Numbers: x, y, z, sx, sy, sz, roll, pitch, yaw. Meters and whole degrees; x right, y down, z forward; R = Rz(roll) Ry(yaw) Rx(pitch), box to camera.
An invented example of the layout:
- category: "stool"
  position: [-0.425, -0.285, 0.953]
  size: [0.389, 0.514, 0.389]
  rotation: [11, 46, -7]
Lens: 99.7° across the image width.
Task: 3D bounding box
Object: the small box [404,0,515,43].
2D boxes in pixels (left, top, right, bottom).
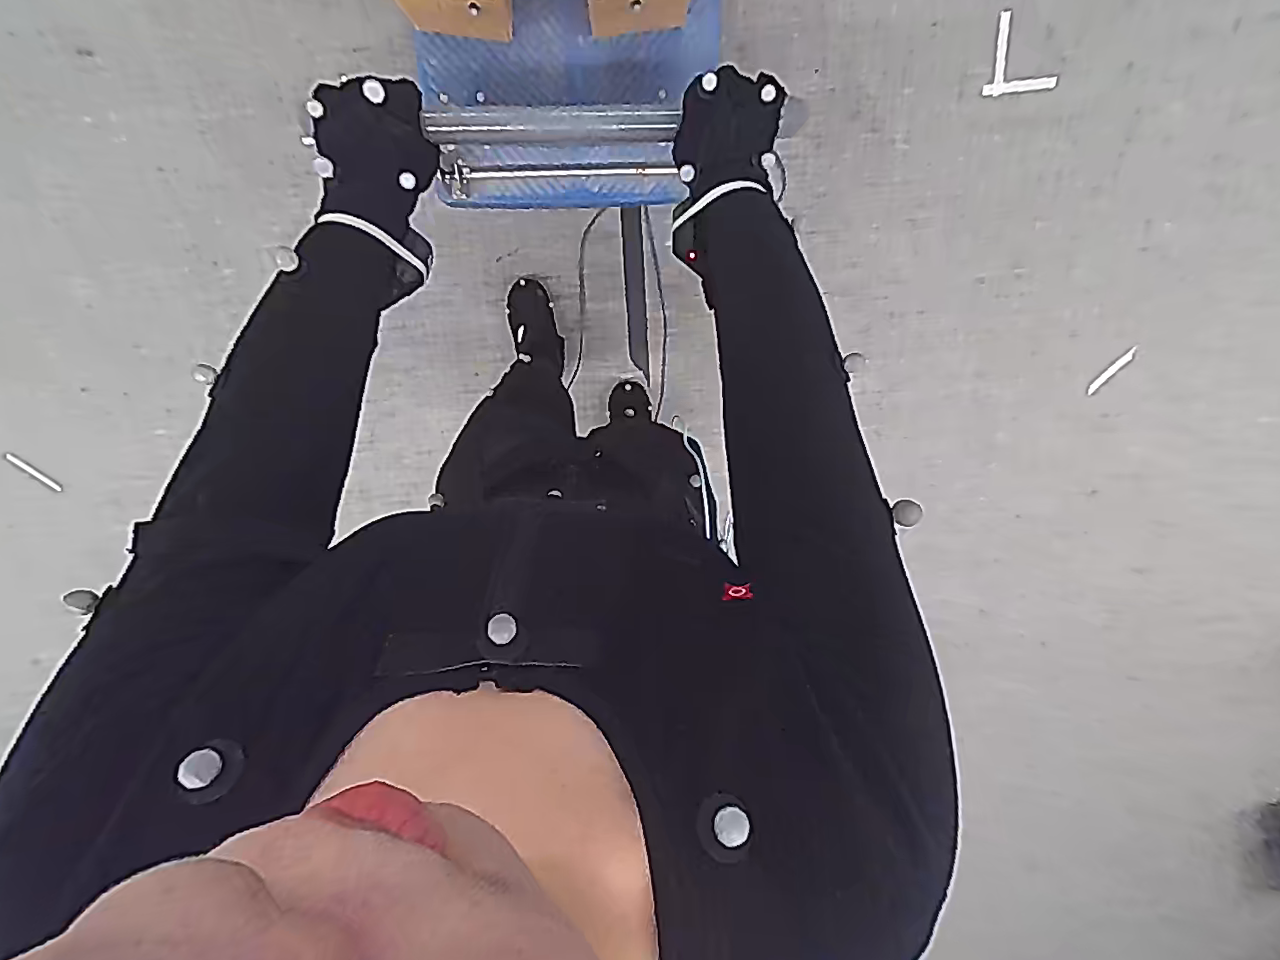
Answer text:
- category: "small box"
  position: [-0.310, -0.872, 0.909]
  size: [0.179, 0.176, 0.168]
  rotation: [2, 110, -6]

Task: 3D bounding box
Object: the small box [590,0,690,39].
- category: "small box"
  position: [-0.005, -0.889, 0.922]
  size: [0.179, 0.176, 0.168]
  rotation: [-8, 111, -1]
